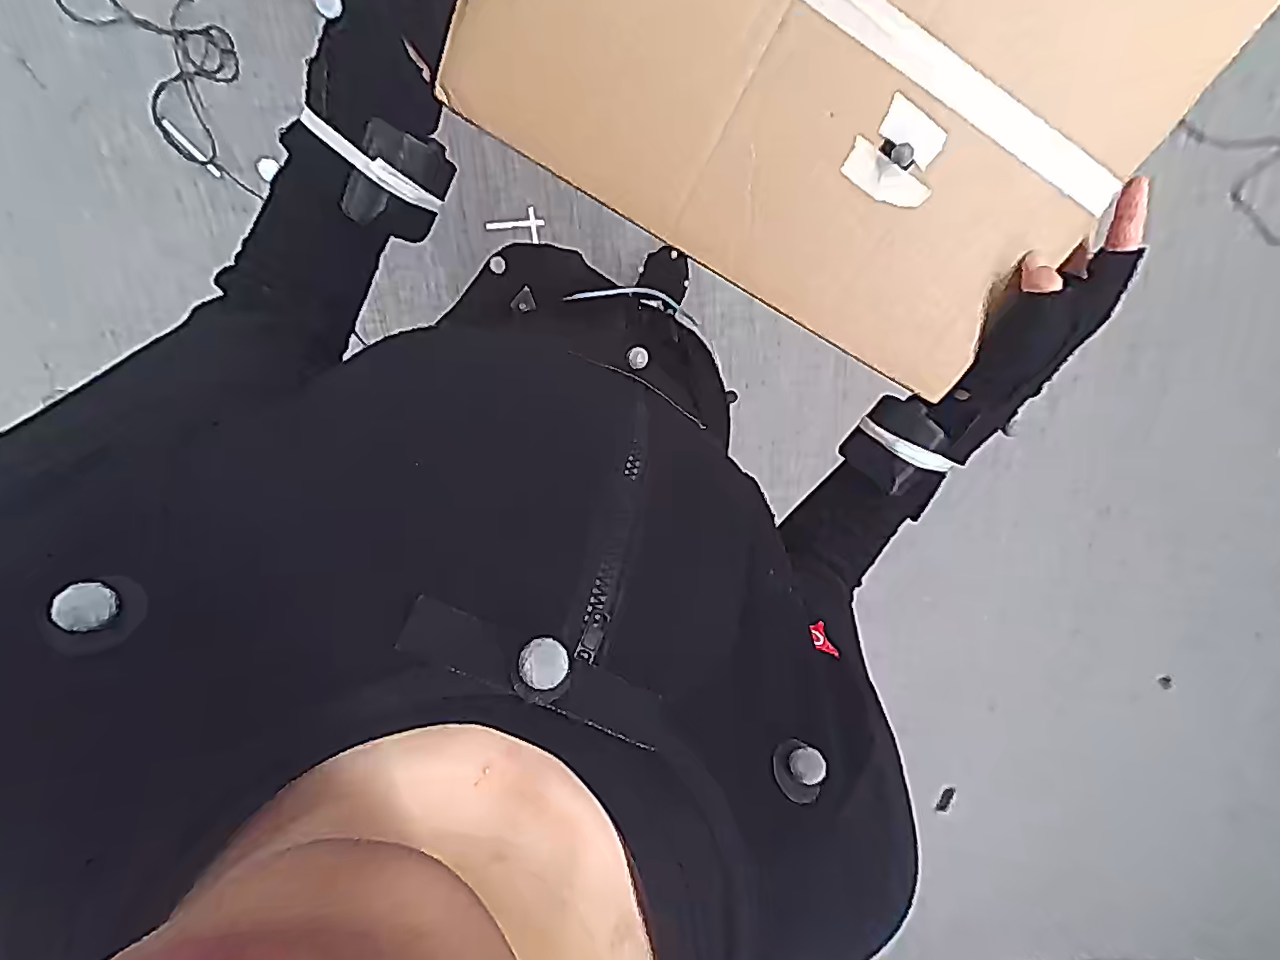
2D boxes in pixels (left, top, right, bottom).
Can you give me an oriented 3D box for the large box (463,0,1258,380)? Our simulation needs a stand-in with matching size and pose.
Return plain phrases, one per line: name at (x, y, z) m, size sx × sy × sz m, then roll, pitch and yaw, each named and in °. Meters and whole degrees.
large box at (0.131, -0.346, 0.450) m, size 0.408 × 0.320 × 0.320 m, roll 26°, pitch 117°, yaw -12°
